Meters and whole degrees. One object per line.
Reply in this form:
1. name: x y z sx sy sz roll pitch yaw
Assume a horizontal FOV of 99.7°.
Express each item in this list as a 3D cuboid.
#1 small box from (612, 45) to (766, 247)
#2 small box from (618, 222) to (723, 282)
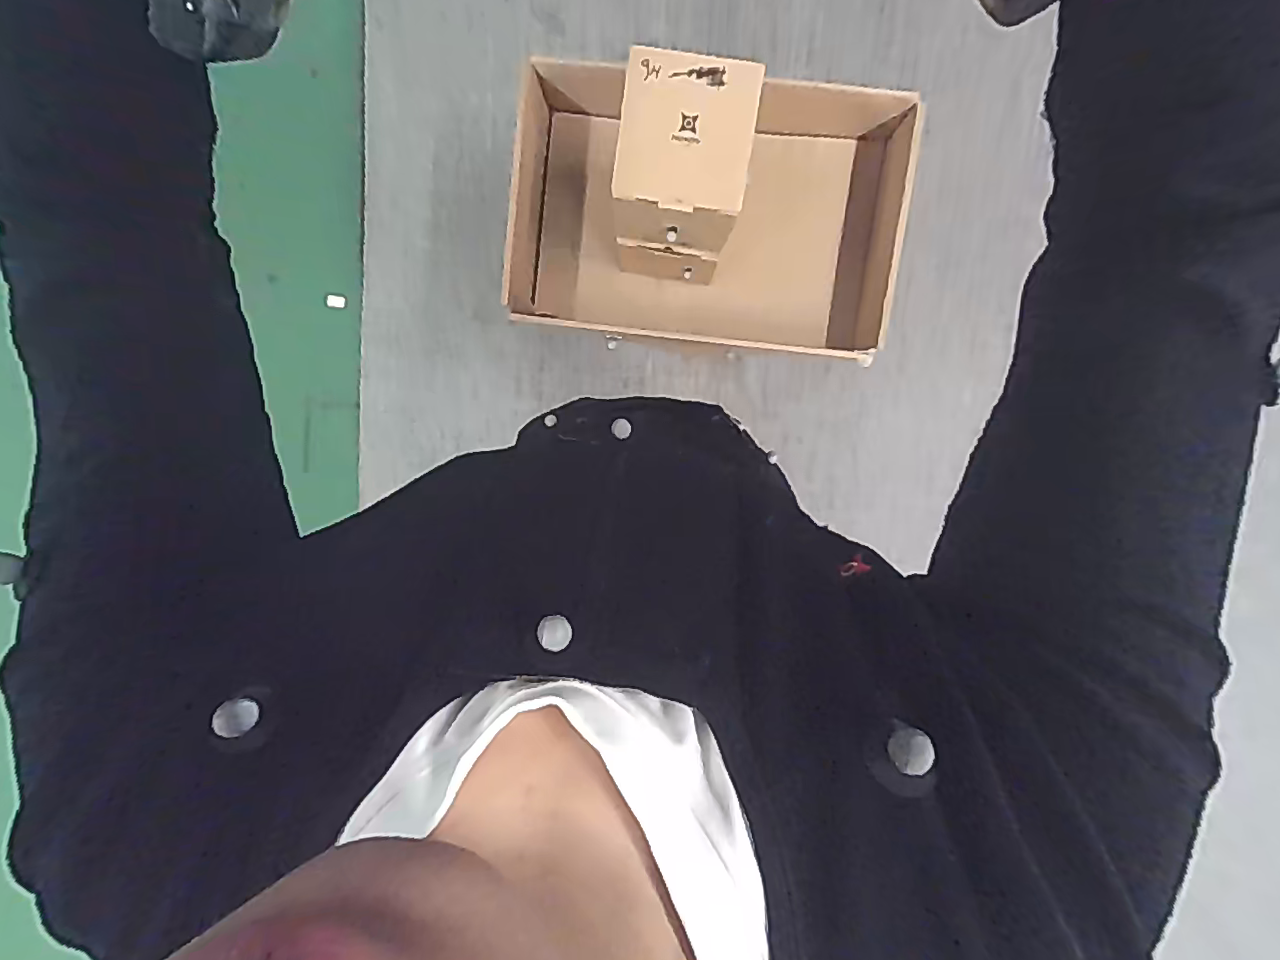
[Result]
1. small box: 0.061 -0.437 0.739 0.168 0.176 0.179 9 98 0
2. small box: 0.062 -0.447 0.903 0.168 0.176 0.179 9 95 0
